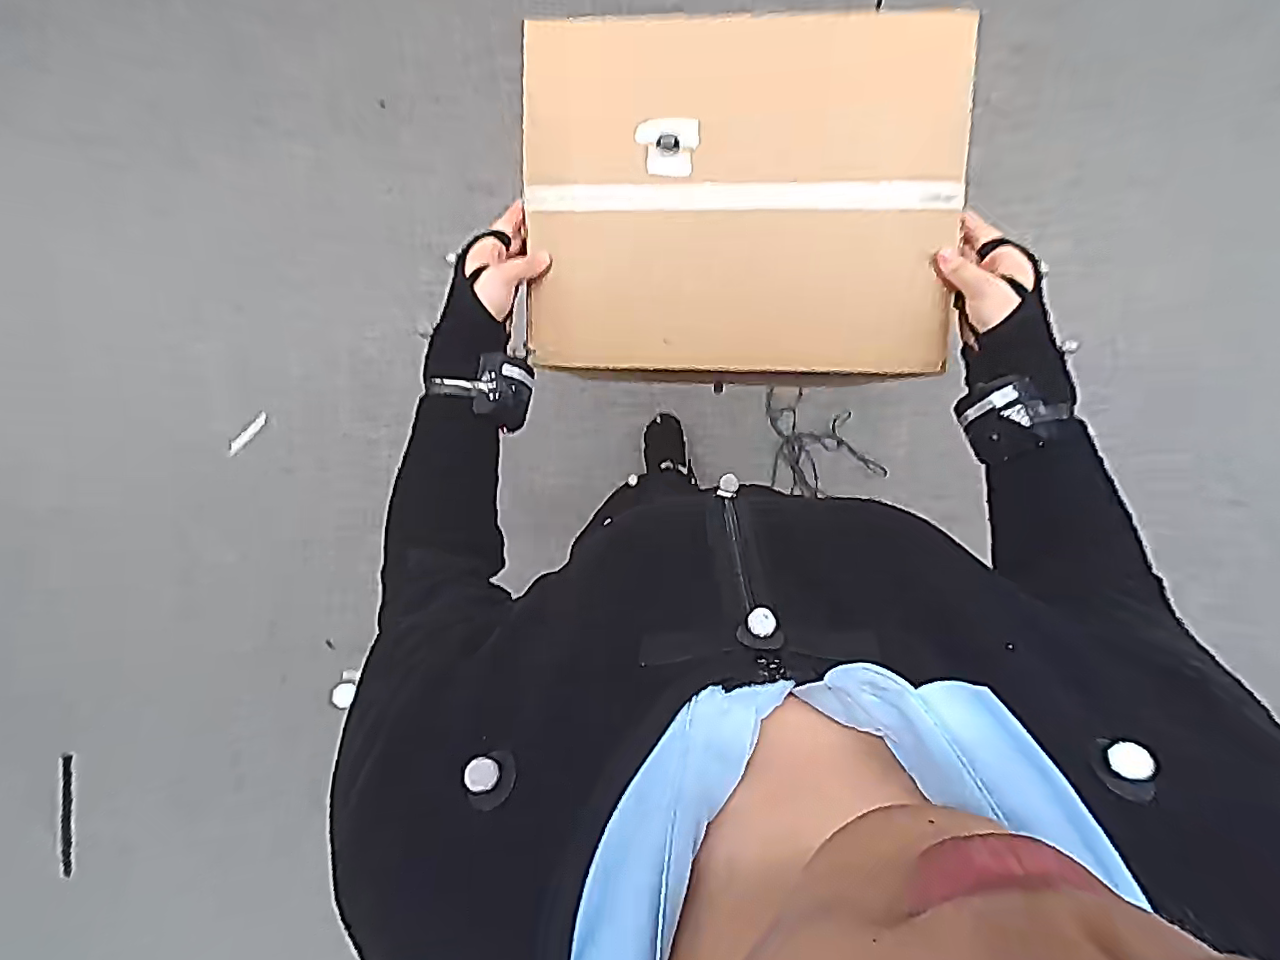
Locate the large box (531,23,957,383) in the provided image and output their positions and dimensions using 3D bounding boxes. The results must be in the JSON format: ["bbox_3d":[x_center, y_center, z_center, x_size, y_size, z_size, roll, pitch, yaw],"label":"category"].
[{"bbox_3d":[0.105,-0.283,0.670,0.408,0.320,0.320,1,96,4],"label":"large box"}]
